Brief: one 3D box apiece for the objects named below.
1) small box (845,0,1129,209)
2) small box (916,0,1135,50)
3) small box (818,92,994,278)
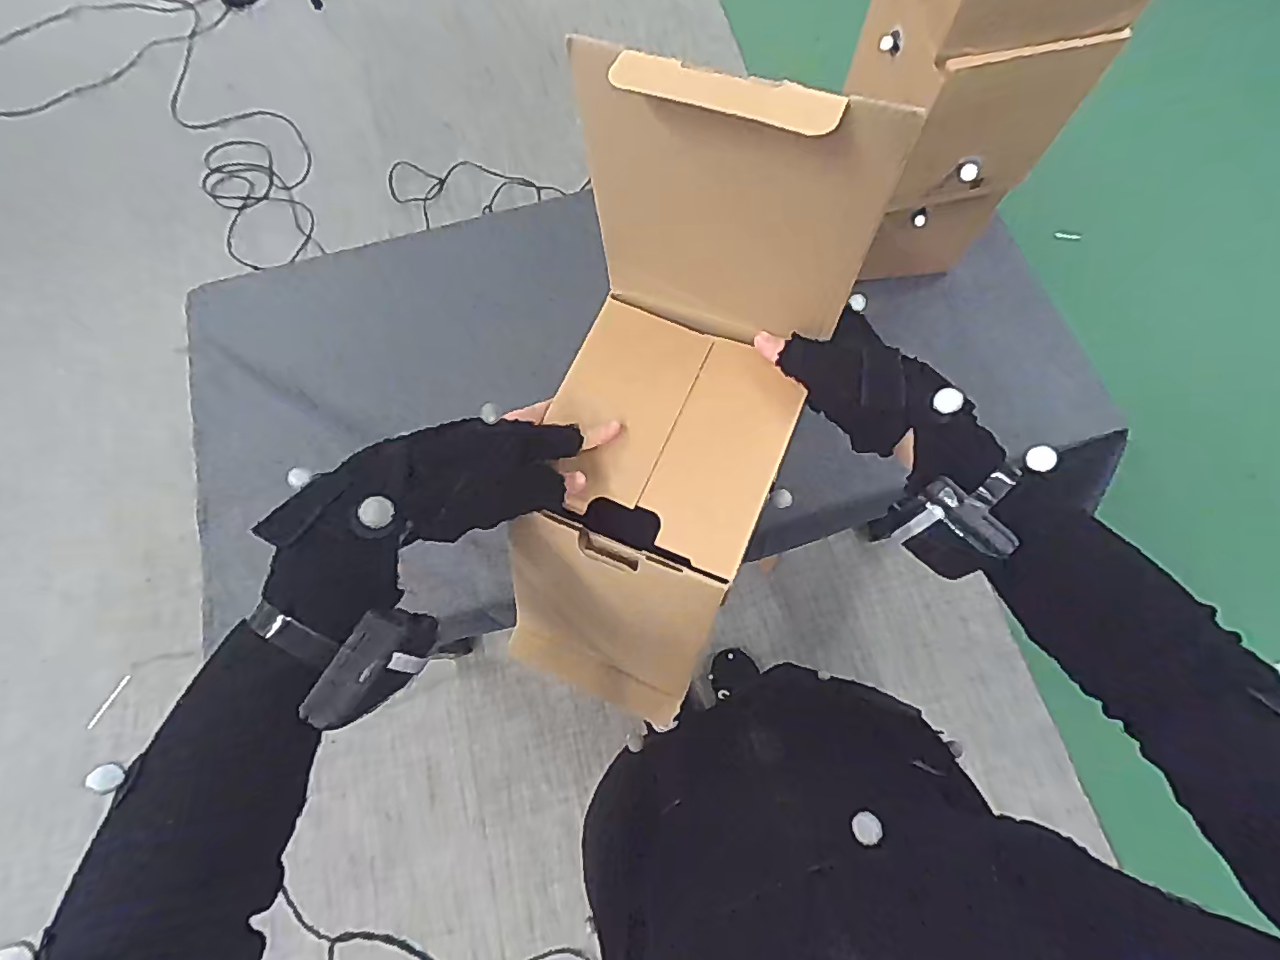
[{"bbox_3d":[0.339,-0.428,0.574,0.168,0.176,0.179,-10,73,1],"label":"small box"},{"bbox_3d":[0.325,-0.478,0.419,0.179,0.176,0.168,-8,73,1],"label":"small box"},{"bbox_3d":[0.353,-0.397,0.735,0.179,0.176,0.168,-4,73,2],"label":"small box"}]
